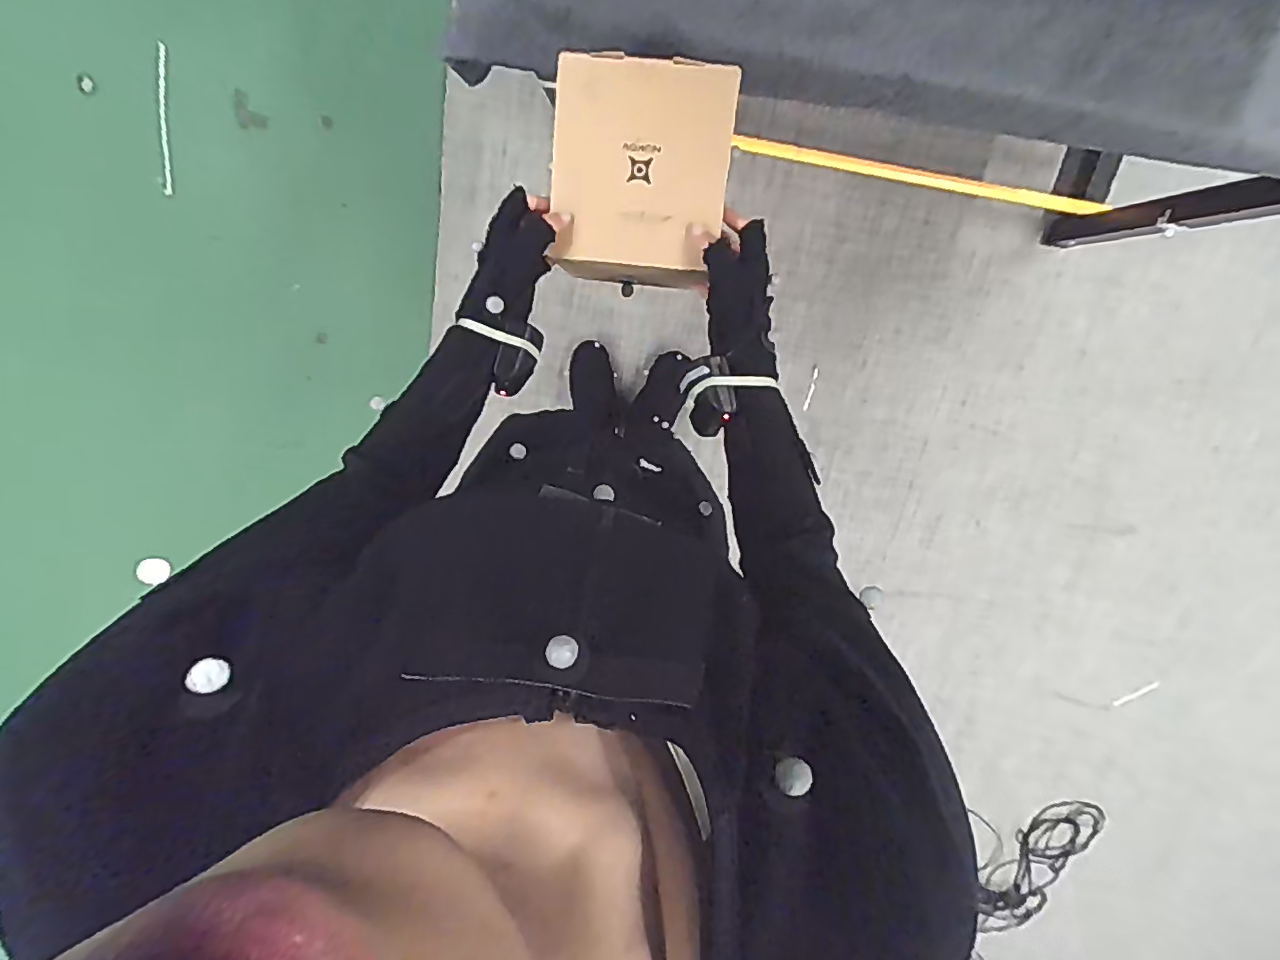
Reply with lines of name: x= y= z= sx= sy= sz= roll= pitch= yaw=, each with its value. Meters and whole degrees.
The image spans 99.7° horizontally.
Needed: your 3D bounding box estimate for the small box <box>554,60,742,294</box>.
small box: x=0.008 y=-0.310 z=0.589 sx=0.168 sy=0.176 sz=0.179 roll=6 pitch=104 yaw=3
